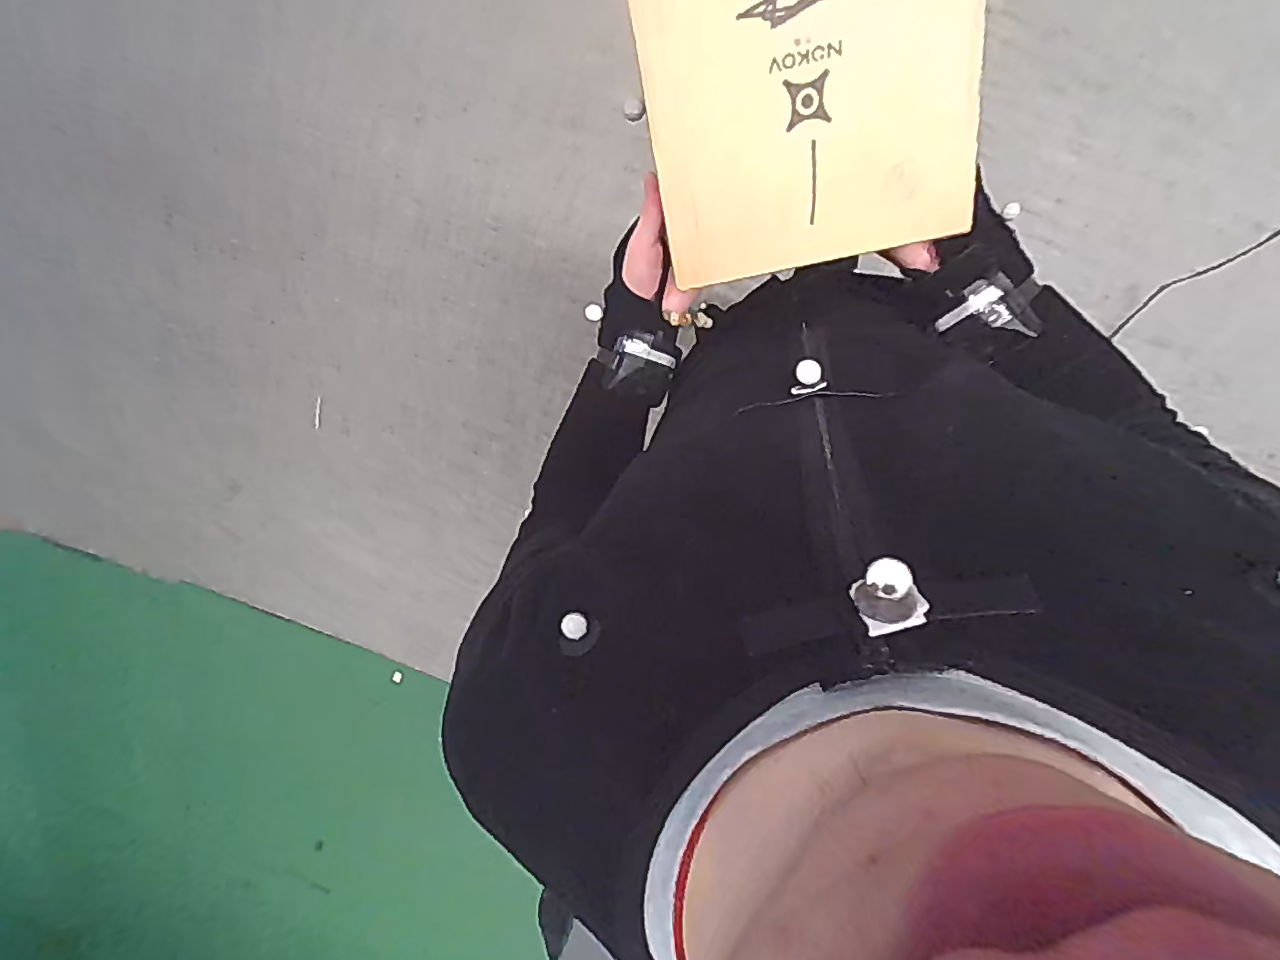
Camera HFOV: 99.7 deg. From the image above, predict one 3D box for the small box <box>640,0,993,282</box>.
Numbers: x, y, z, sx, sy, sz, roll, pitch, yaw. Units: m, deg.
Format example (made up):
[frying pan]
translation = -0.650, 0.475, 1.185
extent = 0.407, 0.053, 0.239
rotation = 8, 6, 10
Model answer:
[small box]
translation = 0.093, -0.240, 0.344
extent = 0.168, 0.176, 0.179
rotation = -9, 117, 8
